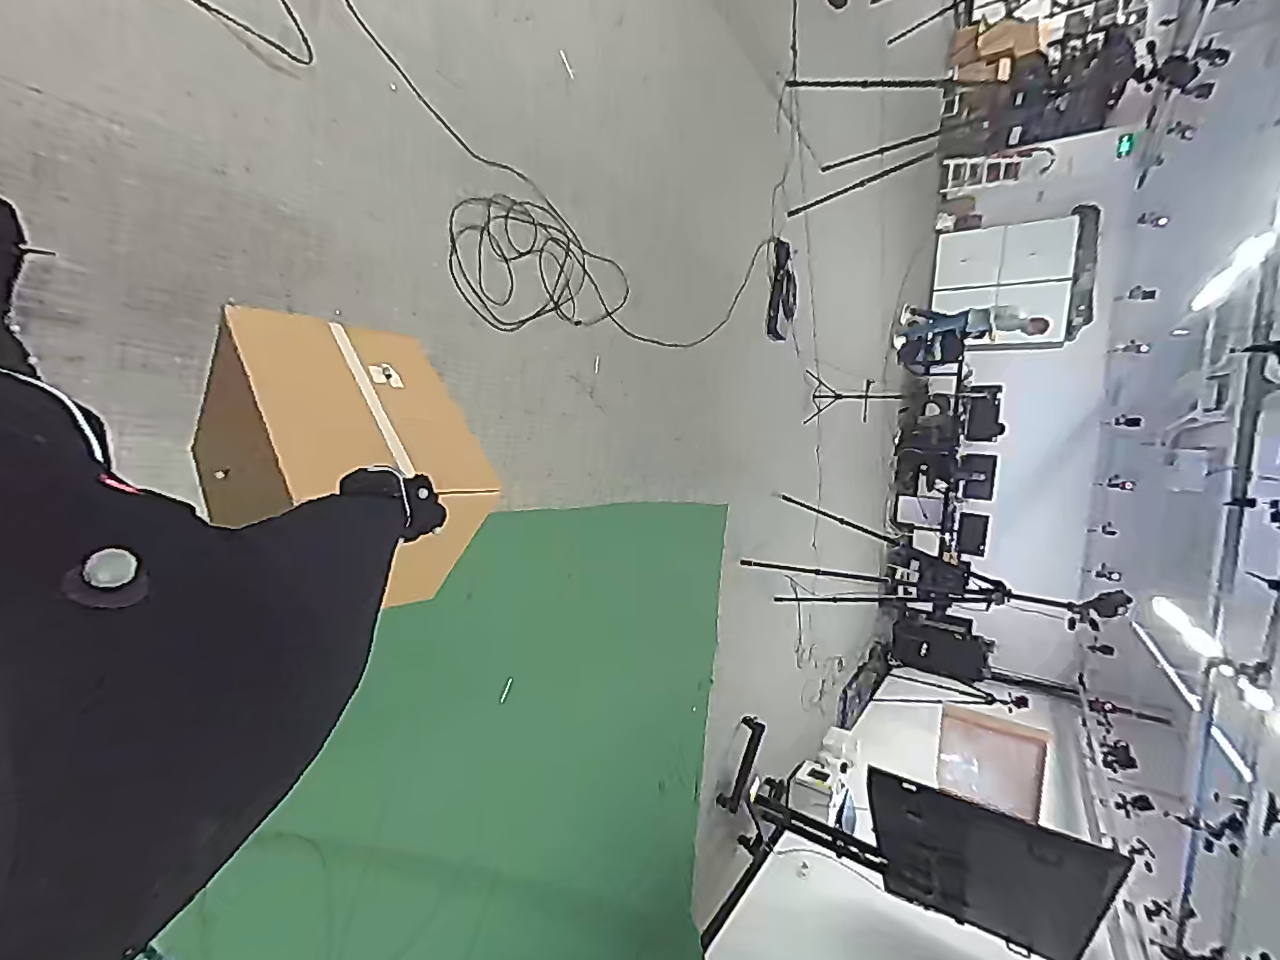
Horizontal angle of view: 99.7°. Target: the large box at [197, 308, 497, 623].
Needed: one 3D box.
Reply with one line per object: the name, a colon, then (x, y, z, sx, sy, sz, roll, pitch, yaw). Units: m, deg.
large box: (-0.524, -0.028, 0.945, 0.320, 0.408, 0.320, -2, 138, -51)
